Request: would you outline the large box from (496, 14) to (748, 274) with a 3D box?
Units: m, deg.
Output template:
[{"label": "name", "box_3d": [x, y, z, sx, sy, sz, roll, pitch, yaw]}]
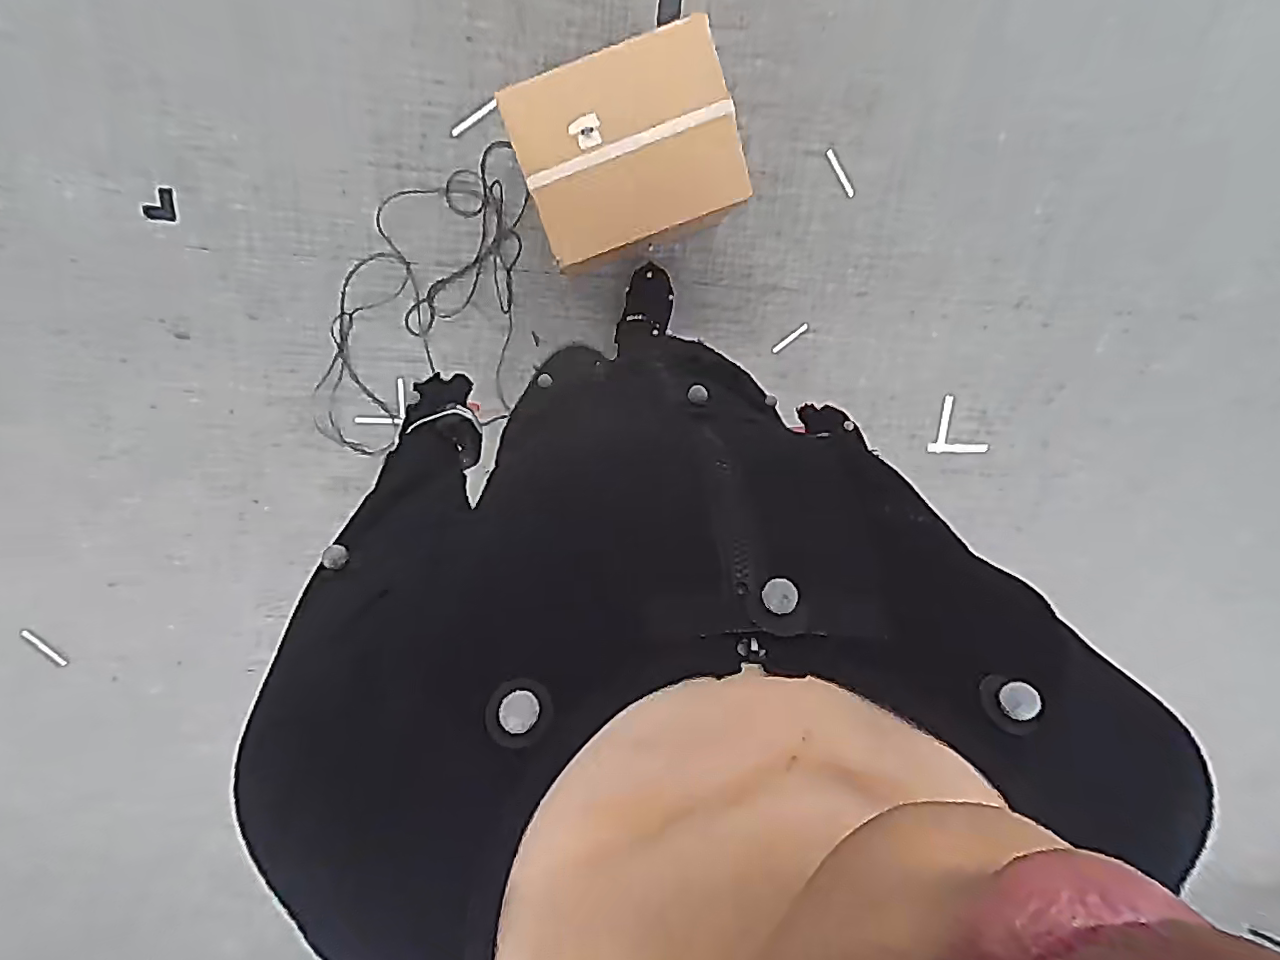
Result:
[{"label": "large box", "box_3d": [-0.033, -0.665, 1.148, 0.408, 0.320, 0.320, -20, 107, 3]}]
